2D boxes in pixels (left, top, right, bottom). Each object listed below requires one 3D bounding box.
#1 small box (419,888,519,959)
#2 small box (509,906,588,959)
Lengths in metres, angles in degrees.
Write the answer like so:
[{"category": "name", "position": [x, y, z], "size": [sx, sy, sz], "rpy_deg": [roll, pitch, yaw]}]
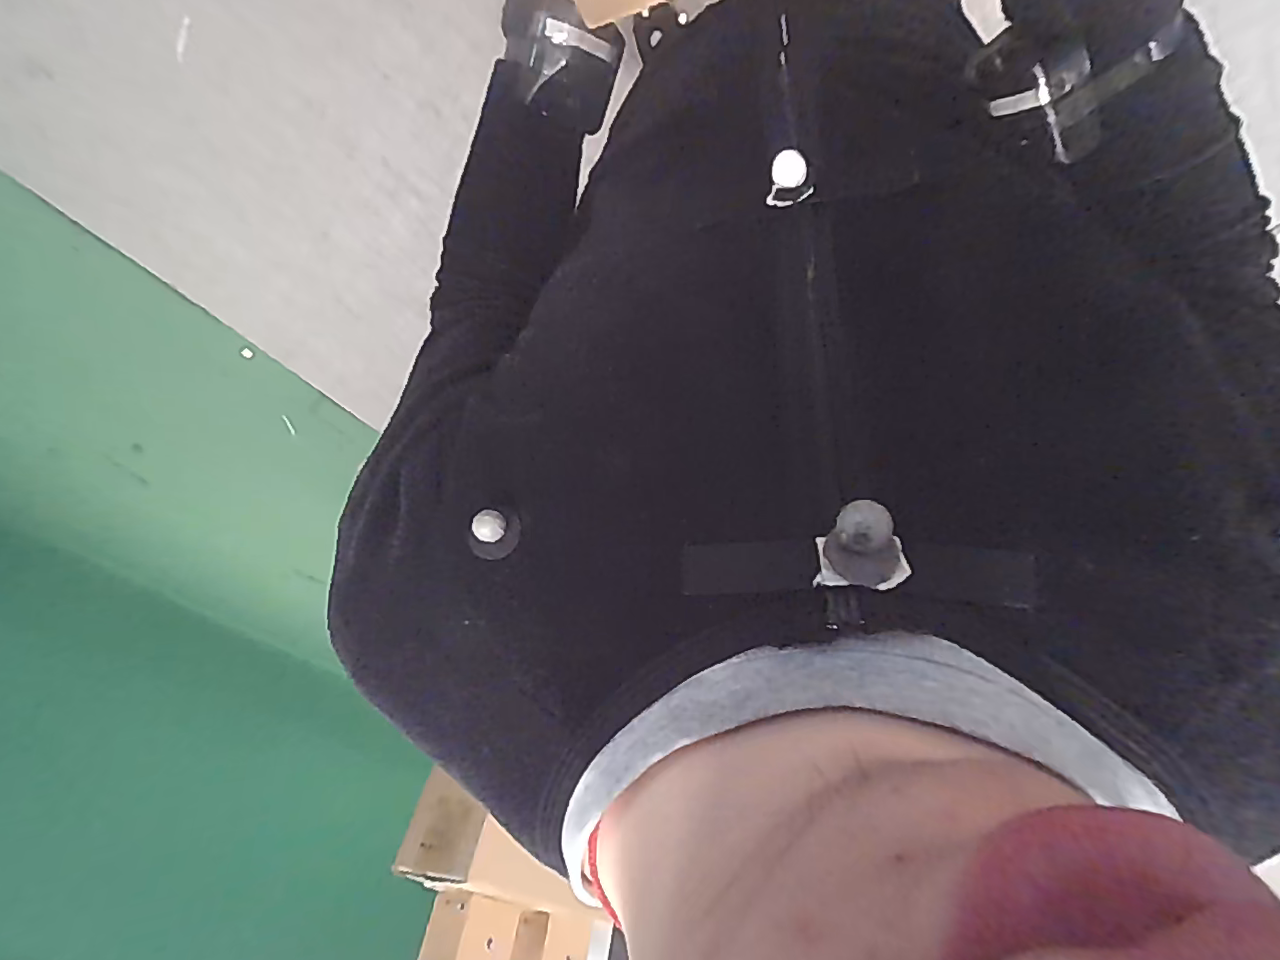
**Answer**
[{"category": "small box", "position": [-0.459, 1.223, 1.461], "size": [0.168, 0.176, 0.179], "rpy_deg": [-28, 125, 32]}, {"category": "small box", "position": [-0.273, 1.363, 1.571], "size": [0.168, 0.176, 0.179], "rpy_deg": [-28, 124, 32]}]
